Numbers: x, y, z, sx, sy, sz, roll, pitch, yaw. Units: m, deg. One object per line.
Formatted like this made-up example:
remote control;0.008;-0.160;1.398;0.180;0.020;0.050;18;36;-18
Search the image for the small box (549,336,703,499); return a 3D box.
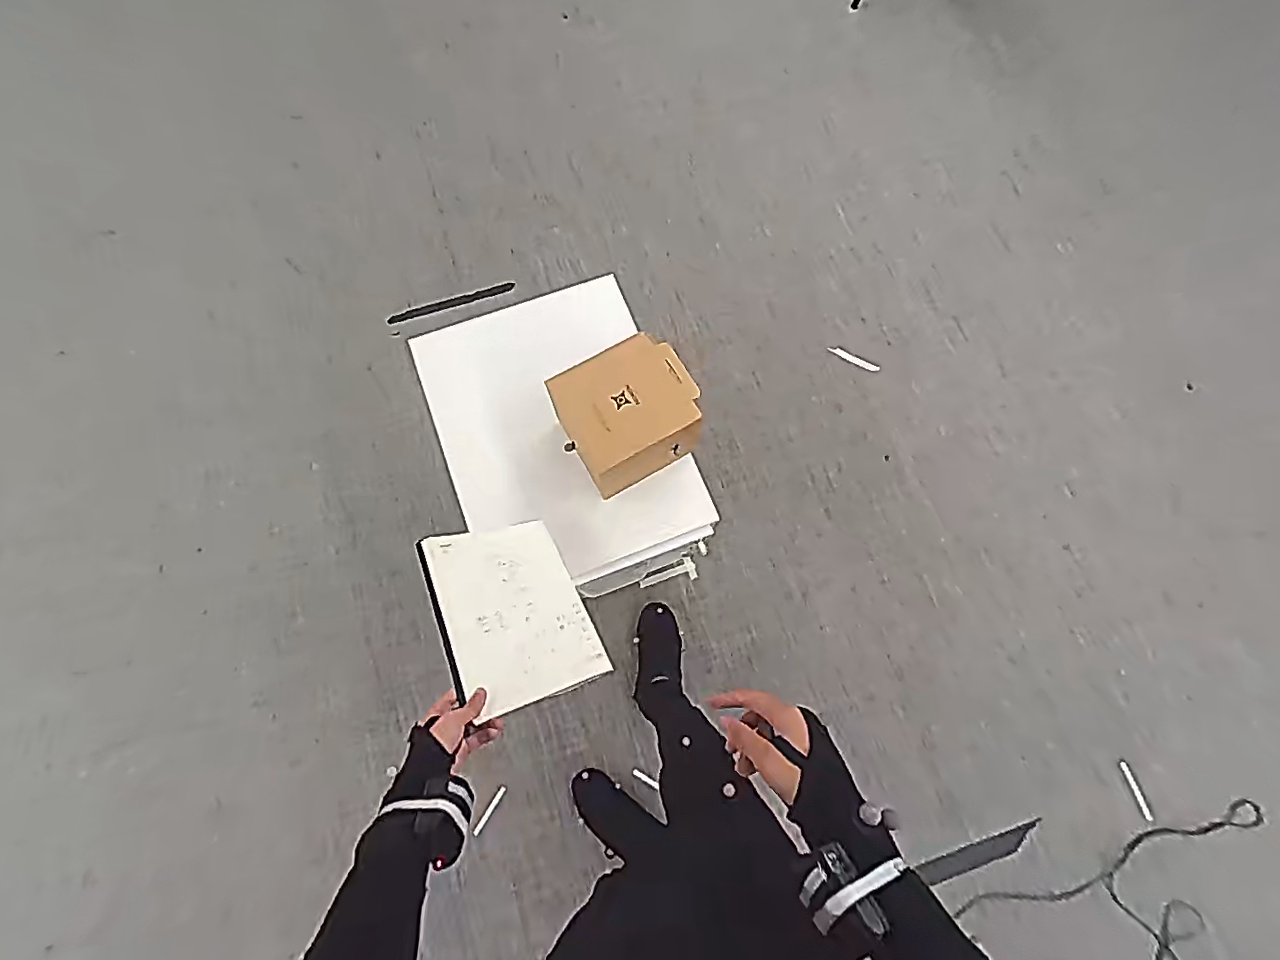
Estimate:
small box;-0.023;-0.090;0.861;0.179;0.176;0.168;-29;77;-8
